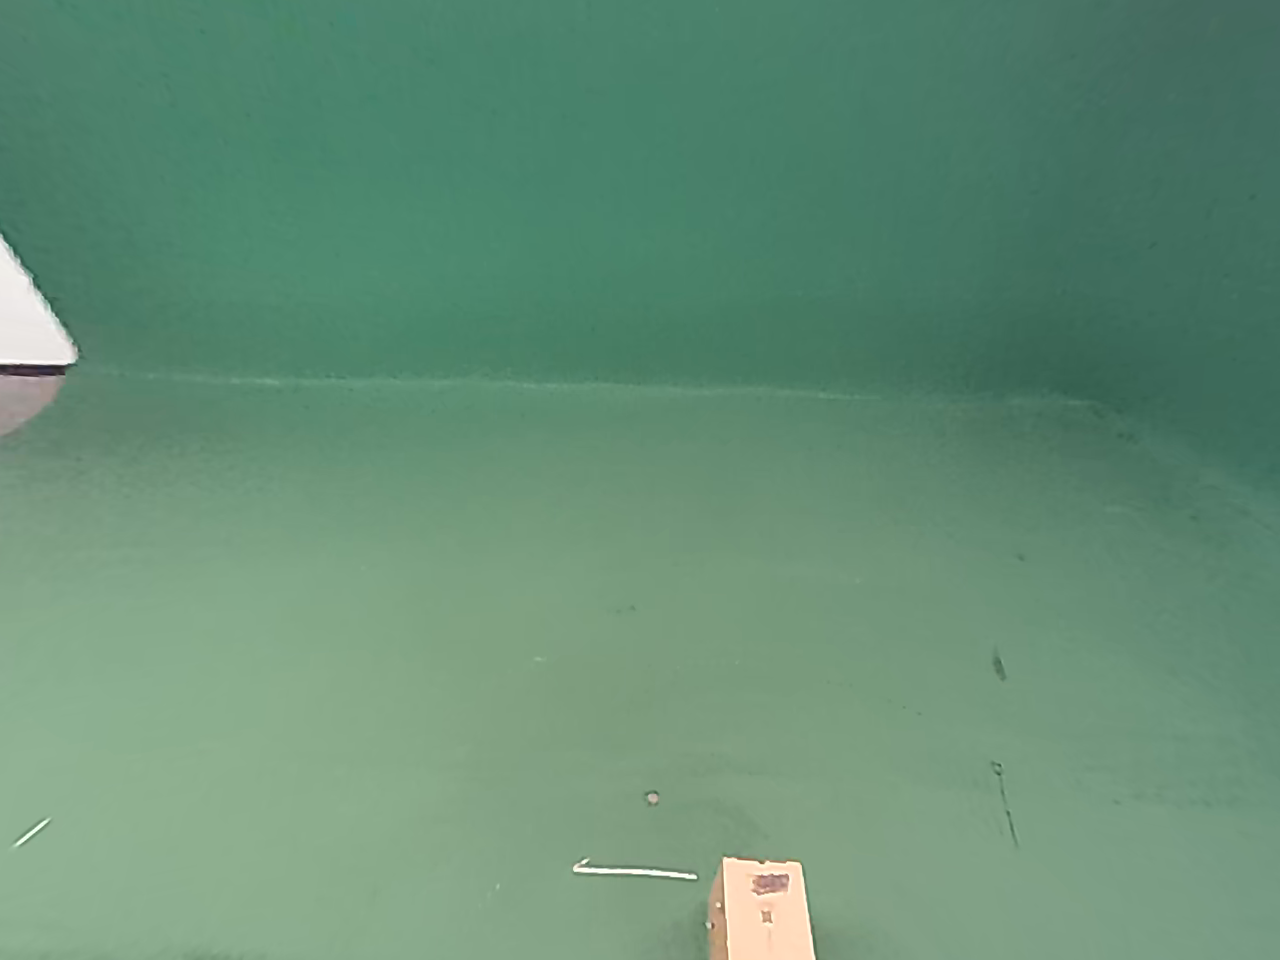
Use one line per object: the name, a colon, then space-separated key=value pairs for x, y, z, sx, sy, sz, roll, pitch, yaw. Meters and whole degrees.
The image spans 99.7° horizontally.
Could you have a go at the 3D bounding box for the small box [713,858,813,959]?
small box: x=0.243 y=0.912 z=1.111 sx=0.168 sy=0.176 sz=0.179 roll=3 pitch=40 yaw=1

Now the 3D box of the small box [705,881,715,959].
small box: x=0.237 y=1.038 z=1.216 sx=0.168 sy=0.176 sz=0.179 roll=3 pitch=40 yaw=2
